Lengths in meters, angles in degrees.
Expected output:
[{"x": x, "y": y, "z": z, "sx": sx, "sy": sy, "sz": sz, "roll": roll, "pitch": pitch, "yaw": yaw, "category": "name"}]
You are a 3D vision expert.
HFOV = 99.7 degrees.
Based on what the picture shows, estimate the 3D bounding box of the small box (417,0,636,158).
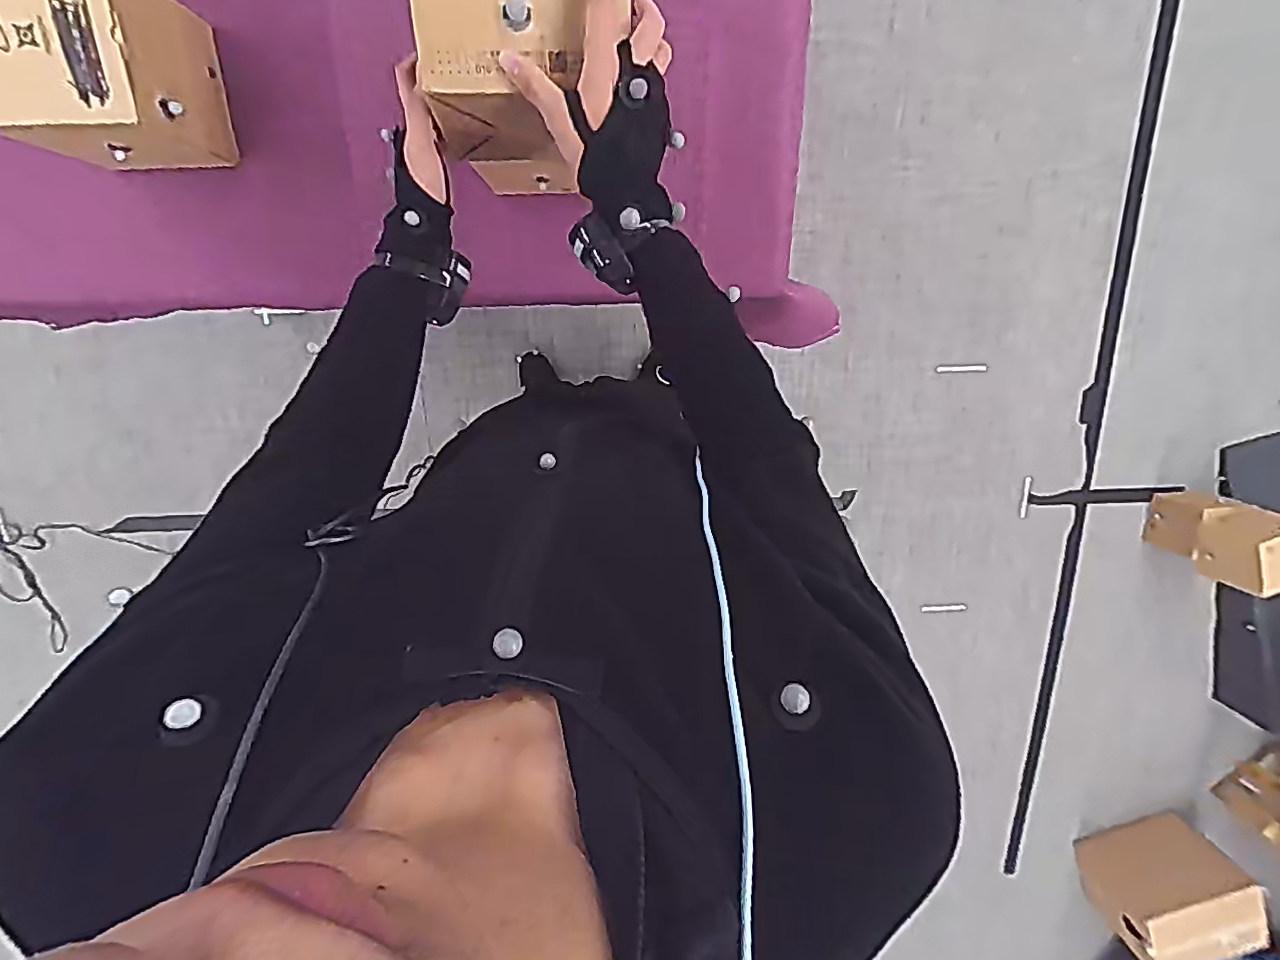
[{"x": -0.100, "y": -0.402, "z": 0.480, "sx": 0.168, "sy": 0.179, "sz": 0.176, "roll": -7, "pitch": 107, "yaw": -8, "category": "small box"}]

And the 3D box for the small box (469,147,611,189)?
[{"x": -0.121, "y": -0.477, "z": 0.678, "sx": 0.168, "sy": 0.176, "sz": 0.179, "roll": -2, "pitch": 106, "yaw": -3, "category": "small box"}]
